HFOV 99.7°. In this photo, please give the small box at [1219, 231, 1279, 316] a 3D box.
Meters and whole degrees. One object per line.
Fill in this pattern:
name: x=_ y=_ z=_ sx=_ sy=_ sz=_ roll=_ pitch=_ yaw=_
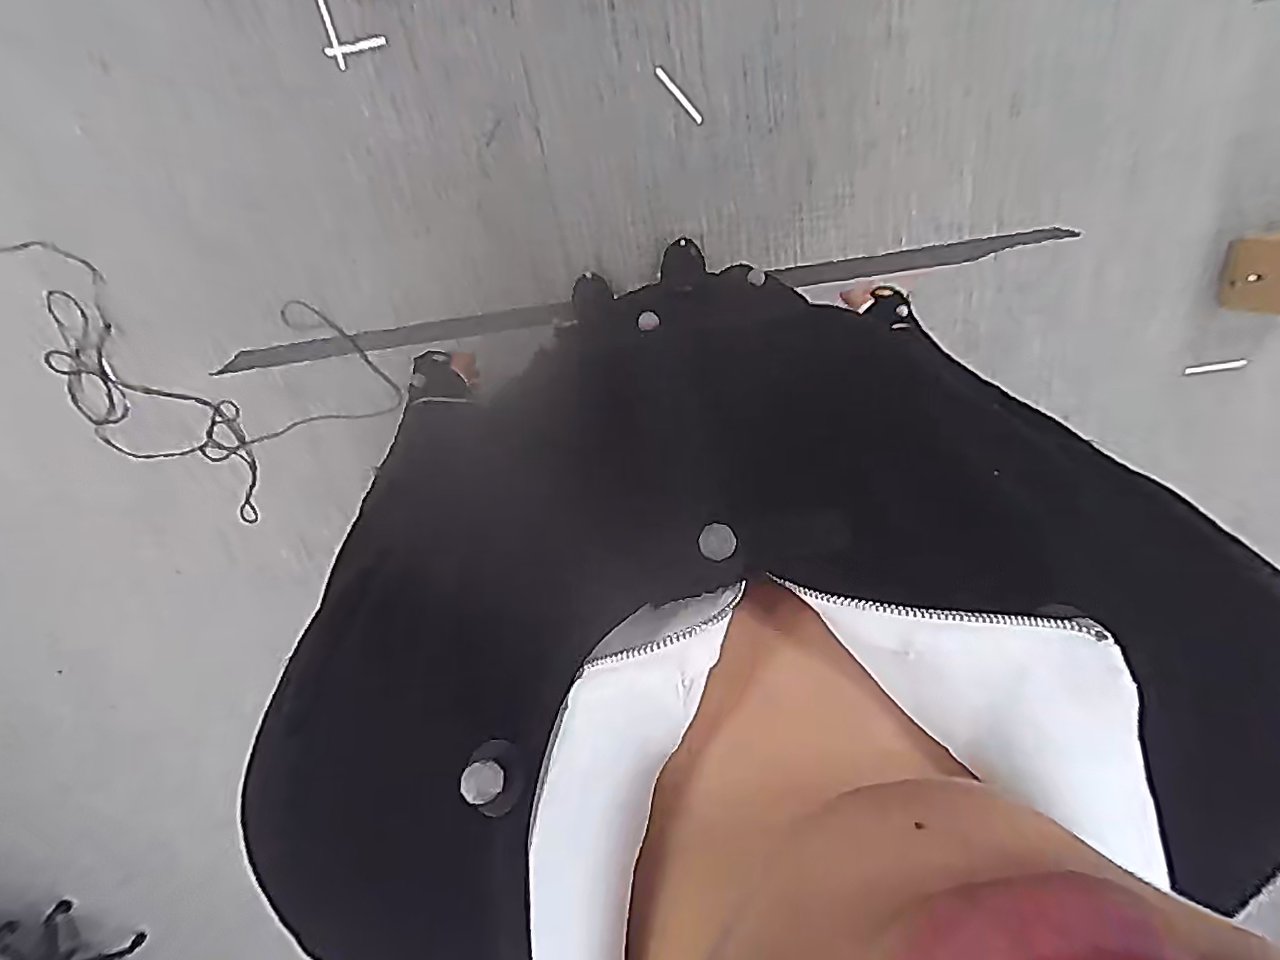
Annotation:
small box: x=1.517 y=-0.484 z=1.250 sx=0.179 sy=0.176 sz=0.168 roll=-10 pitch=114 yaw=6
